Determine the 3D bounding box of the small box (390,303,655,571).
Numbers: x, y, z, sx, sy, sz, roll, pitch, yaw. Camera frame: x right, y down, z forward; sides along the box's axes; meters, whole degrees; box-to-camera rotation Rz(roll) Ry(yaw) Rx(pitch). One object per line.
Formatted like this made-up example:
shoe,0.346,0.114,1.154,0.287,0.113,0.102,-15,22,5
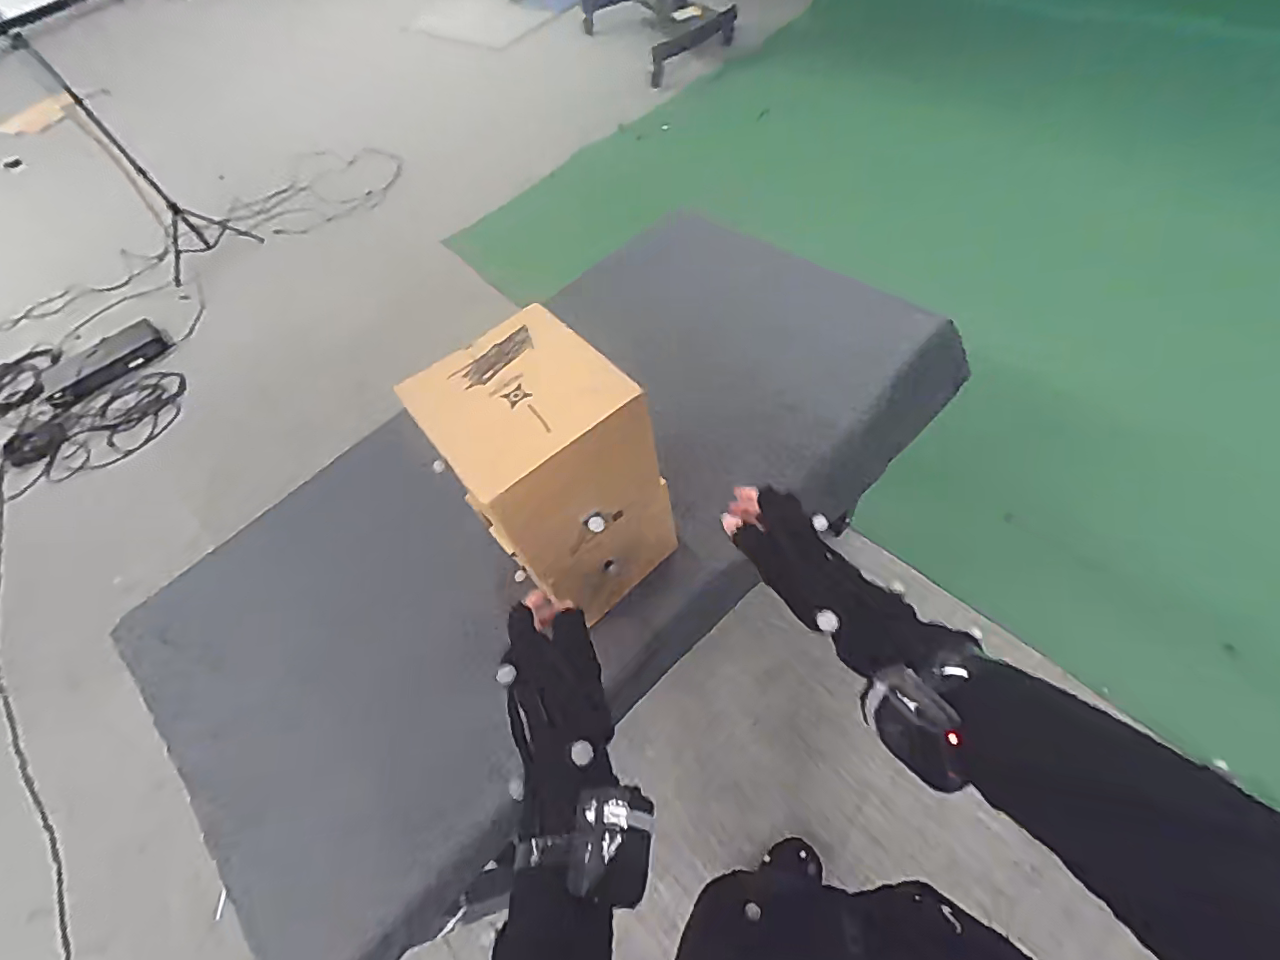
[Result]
small box,-0.107,-0.040,0.548,0.168,0.176,0.179,-41,59,-16

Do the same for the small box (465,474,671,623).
small box,-0.079,0.050,0.683,0.179,0.176,0.168,-41,60,-15
